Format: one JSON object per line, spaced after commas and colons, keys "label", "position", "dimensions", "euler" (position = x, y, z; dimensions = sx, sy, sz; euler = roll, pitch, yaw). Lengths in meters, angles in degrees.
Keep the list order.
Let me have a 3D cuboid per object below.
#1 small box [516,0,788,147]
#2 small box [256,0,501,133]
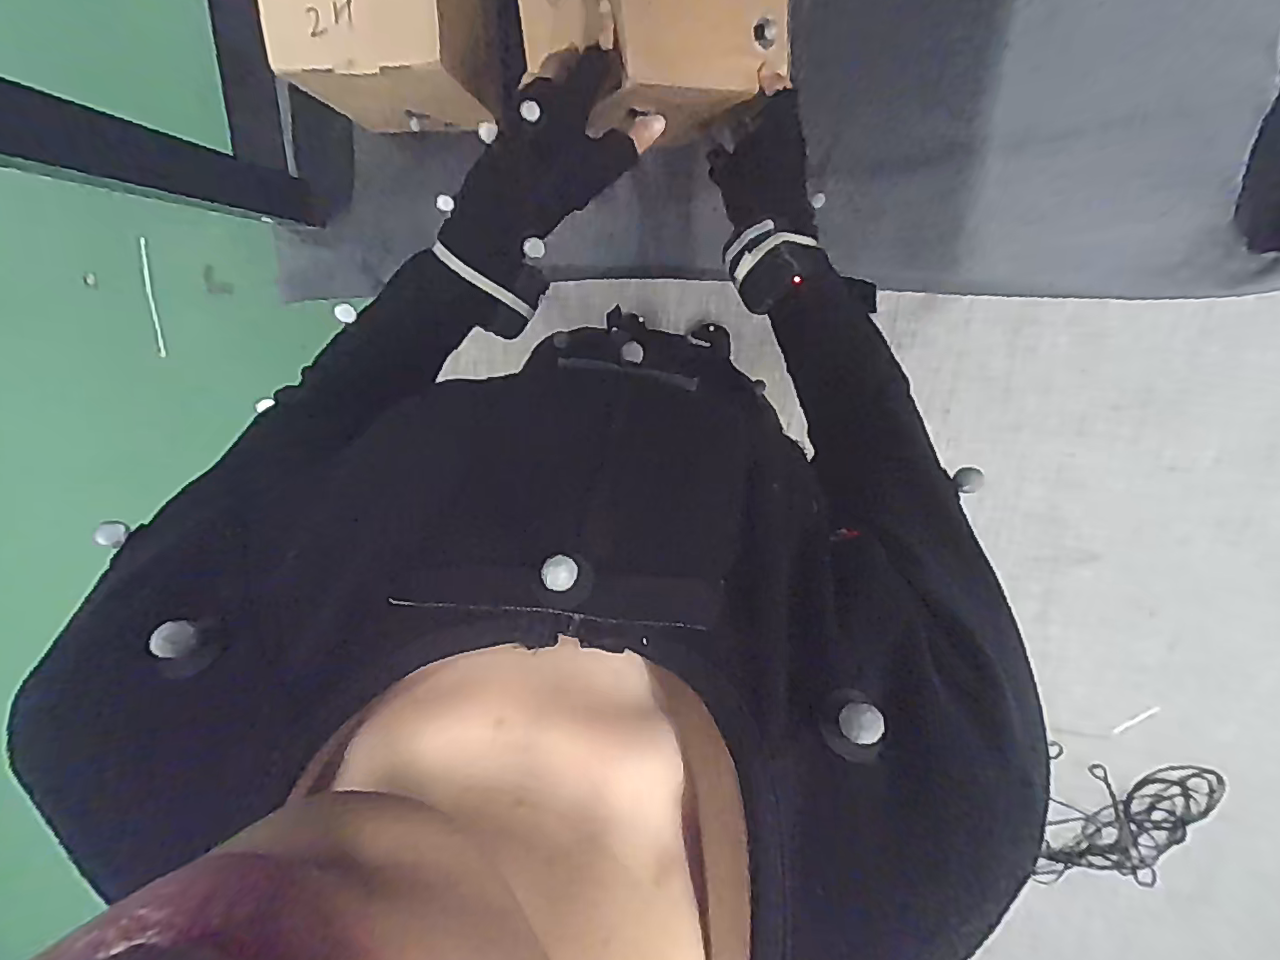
{"label": "small box", "position": [0.003, -0.403, 0.455], "dimensions": [0.176, 0.168, 0.179], "euler": [-18, 113, -30]}
{"label": "small box", "position": [-0.247, -0.473, 0.537], "dimensions": [0.168, 0.176, 0.179], "euler": [2, 106, 5]}
